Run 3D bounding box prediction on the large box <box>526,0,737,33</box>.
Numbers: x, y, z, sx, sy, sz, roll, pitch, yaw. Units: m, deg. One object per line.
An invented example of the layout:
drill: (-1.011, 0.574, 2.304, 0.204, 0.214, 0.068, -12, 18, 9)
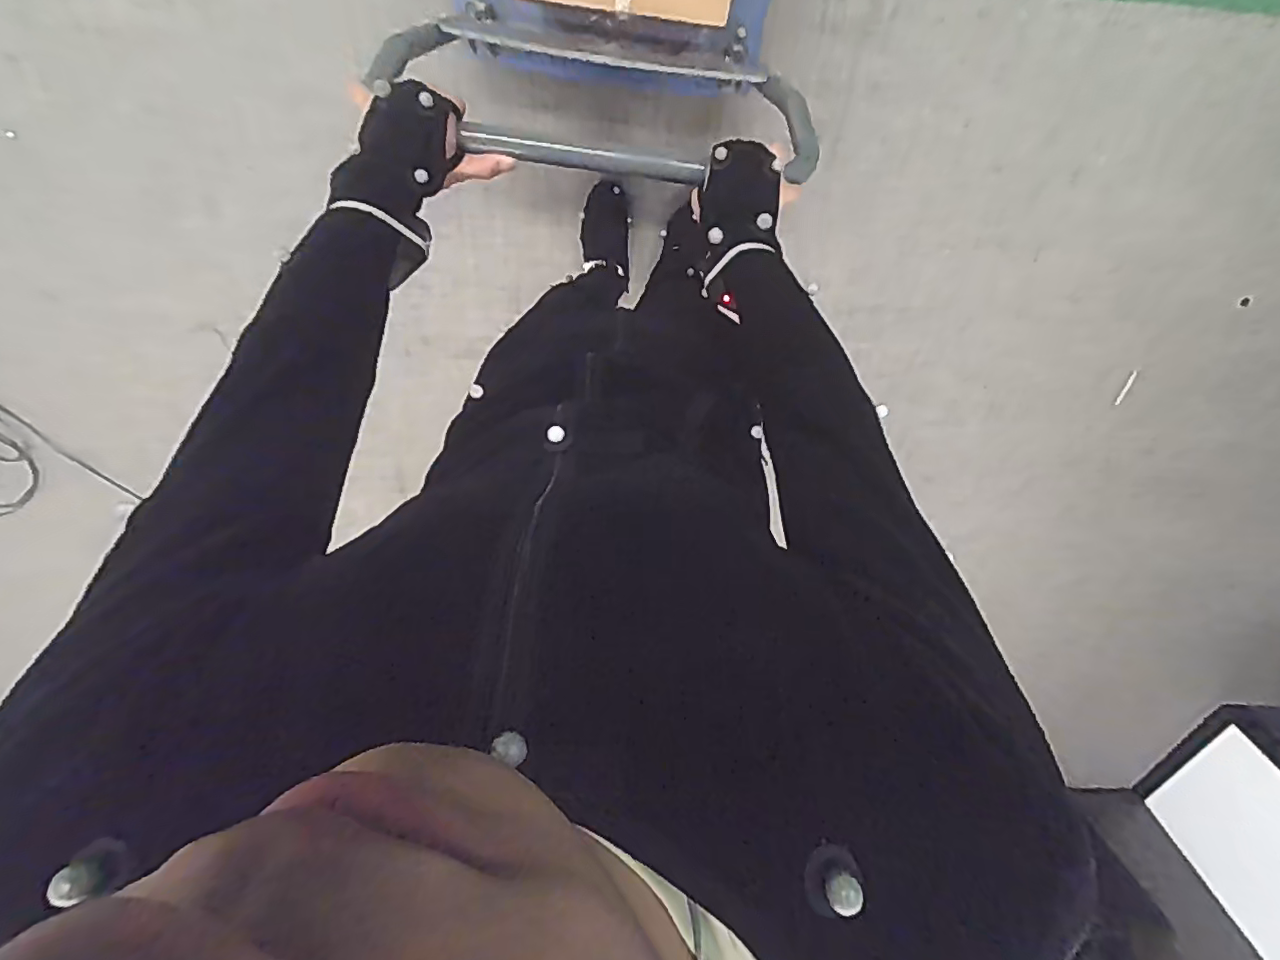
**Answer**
large box: (0.001, -0.918, 0.777, 0.320, 0.320, 0.408, 4, 129, -5)
